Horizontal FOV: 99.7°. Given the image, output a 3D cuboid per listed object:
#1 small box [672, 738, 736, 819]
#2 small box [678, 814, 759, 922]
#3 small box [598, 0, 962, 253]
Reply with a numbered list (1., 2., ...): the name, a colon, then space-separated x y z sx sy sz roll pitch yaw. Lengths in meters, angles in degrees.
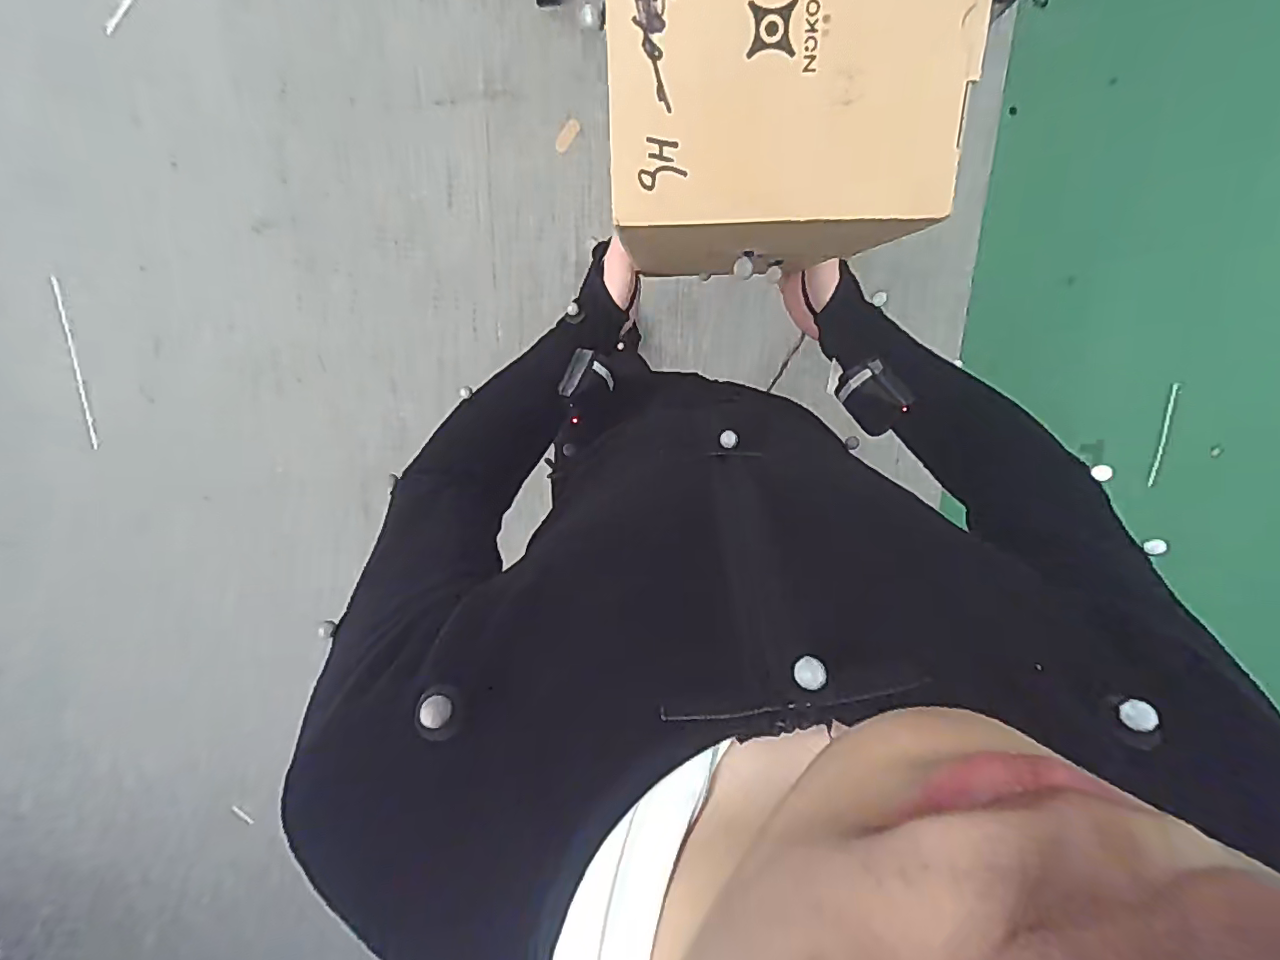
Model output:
1. small box: 0.206 0.975 1.776 0.179 0.176 0.168 6 103 -1
2. small box: 0.204 1.036 1.454 0.179 0.176 0.168 8 103 -2
3. small box: 0.069 -0.241 0.336 0.179 0.176 0.168 1 106 3
